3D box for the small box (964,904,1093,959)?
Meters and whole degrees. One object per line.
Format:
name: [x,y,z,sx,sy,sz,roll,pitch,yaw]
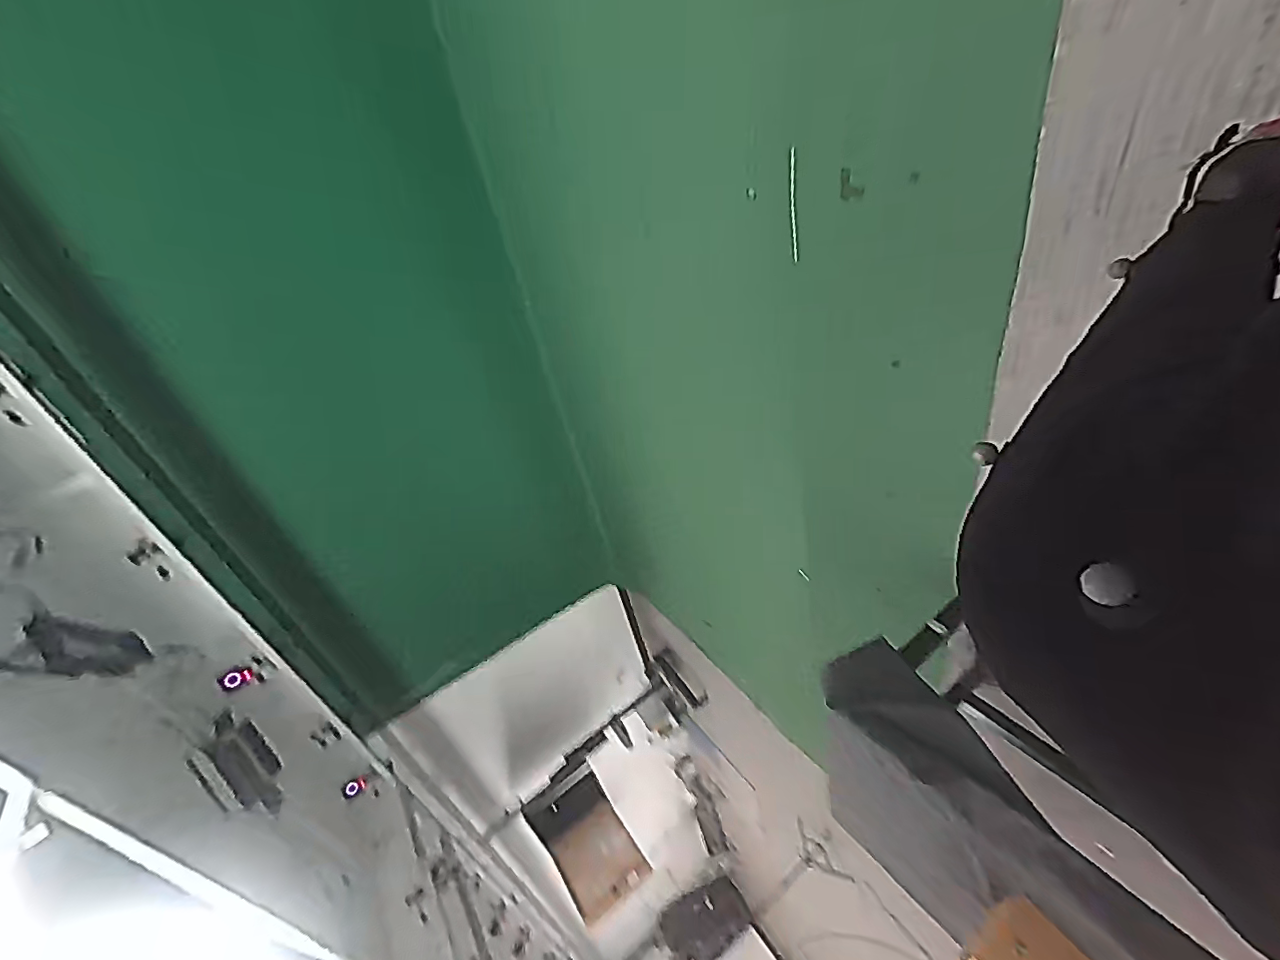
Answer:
small box: [0.771,0.969,1.050,0.179,0.176,0.168,41,153,39]
